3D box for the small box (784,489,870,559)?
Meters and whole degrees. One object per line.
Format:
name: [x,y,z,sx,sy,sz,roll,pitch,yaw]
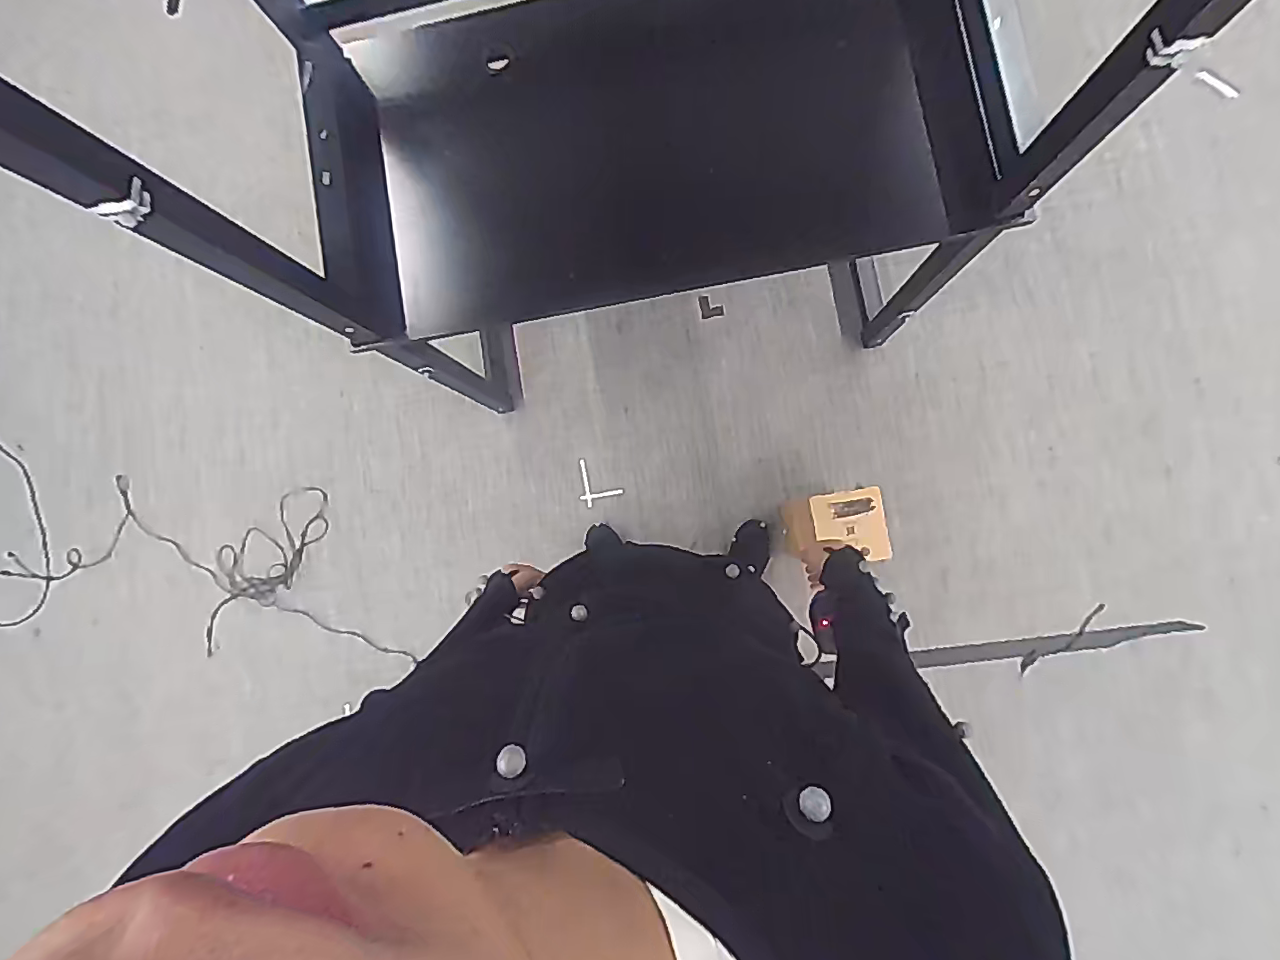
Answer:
small box: [0.516,0.120,1.510,0.179,0.176,0.168,-11,85,6]
